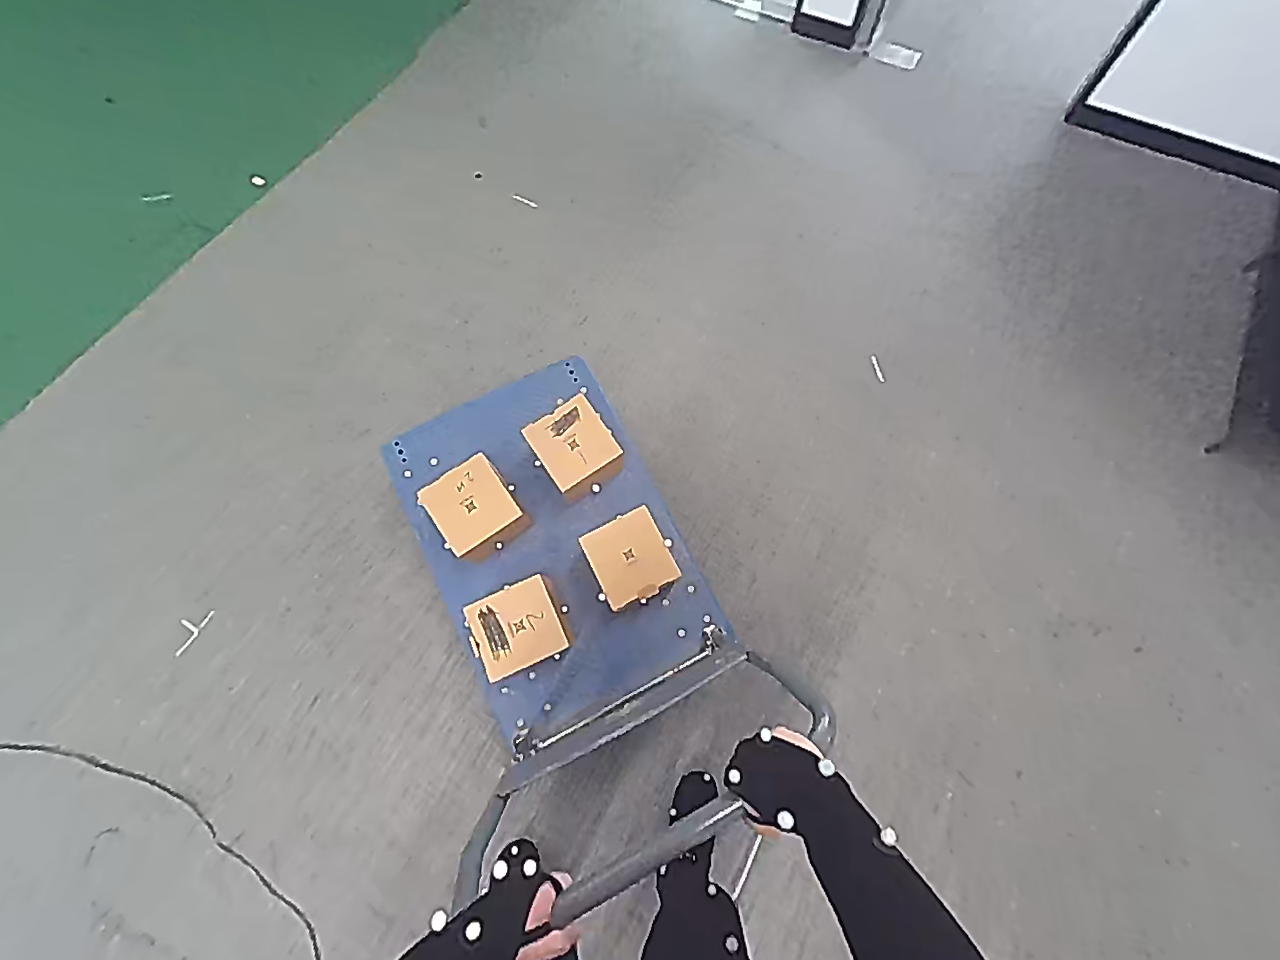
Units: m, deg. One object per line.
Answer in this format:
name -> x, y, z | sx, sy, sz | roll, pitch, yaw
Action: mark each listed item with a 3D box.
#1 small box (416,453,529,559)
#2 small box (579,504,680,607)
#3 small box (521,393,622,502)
small box -> -0.375, 0.070, 1.248 | 0.168, 0.176, 0.179 | -35, 80, -10
small box -> -0.027, 0.179, 1.237 | 0.168, 0.176, 0.179 | -27, 80, -8
small box -> -0.159, -0.070, 1.290 | 0.168, 0.176, 0.179 | -34, 81, -9
